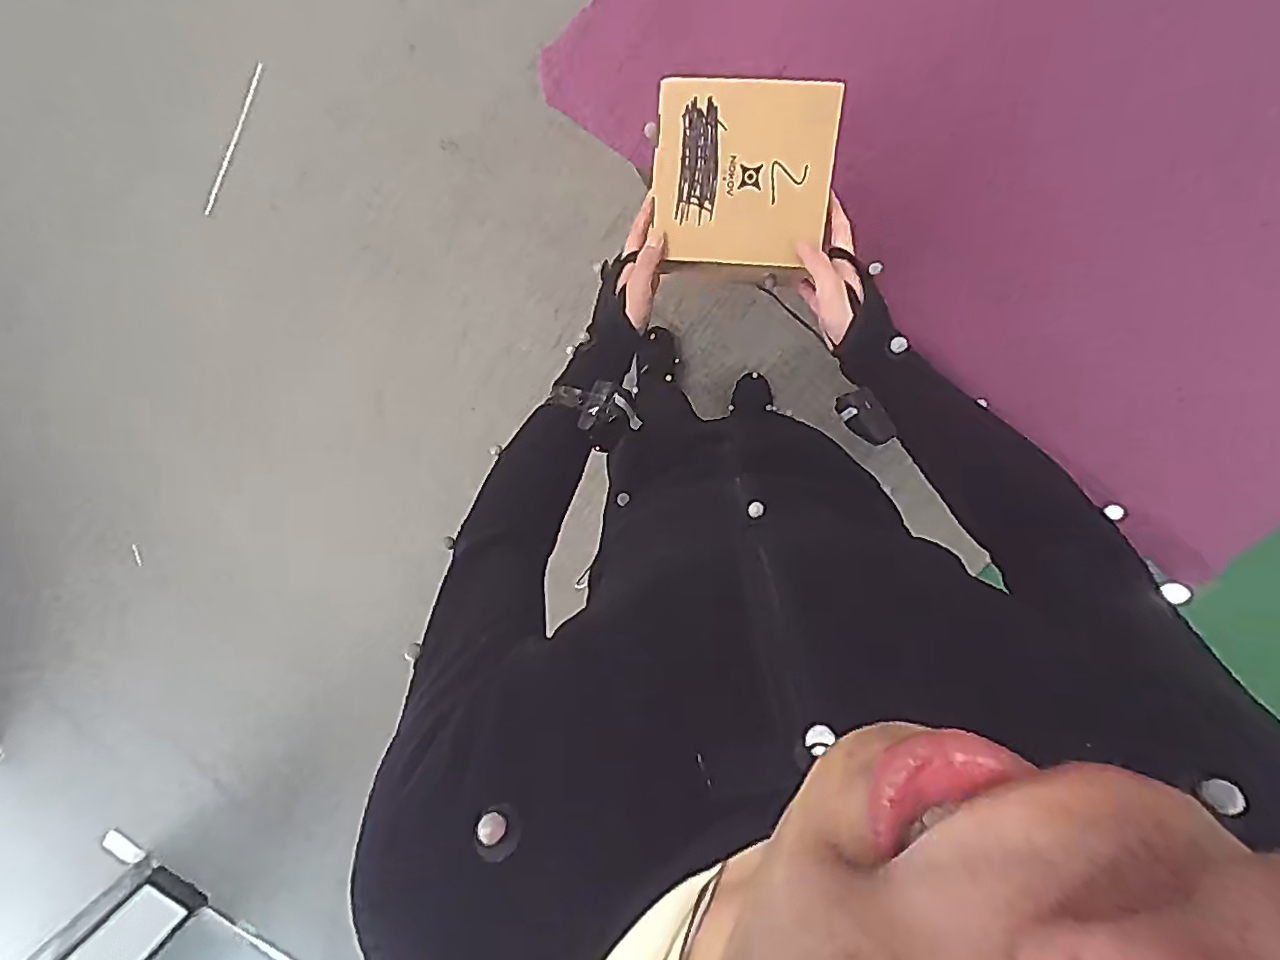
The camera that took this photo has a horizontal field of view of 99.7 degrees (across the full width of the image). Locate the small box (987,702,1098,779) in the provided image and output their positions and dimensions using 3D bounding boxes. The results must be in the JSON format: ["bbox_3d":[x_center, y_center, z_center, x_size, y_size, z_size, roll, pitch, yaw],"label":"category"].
[{"bbox_3d":[1.165,0.800,1.590,0.168,0.176,0.179,37,107,-1],"label":"small box"}]
